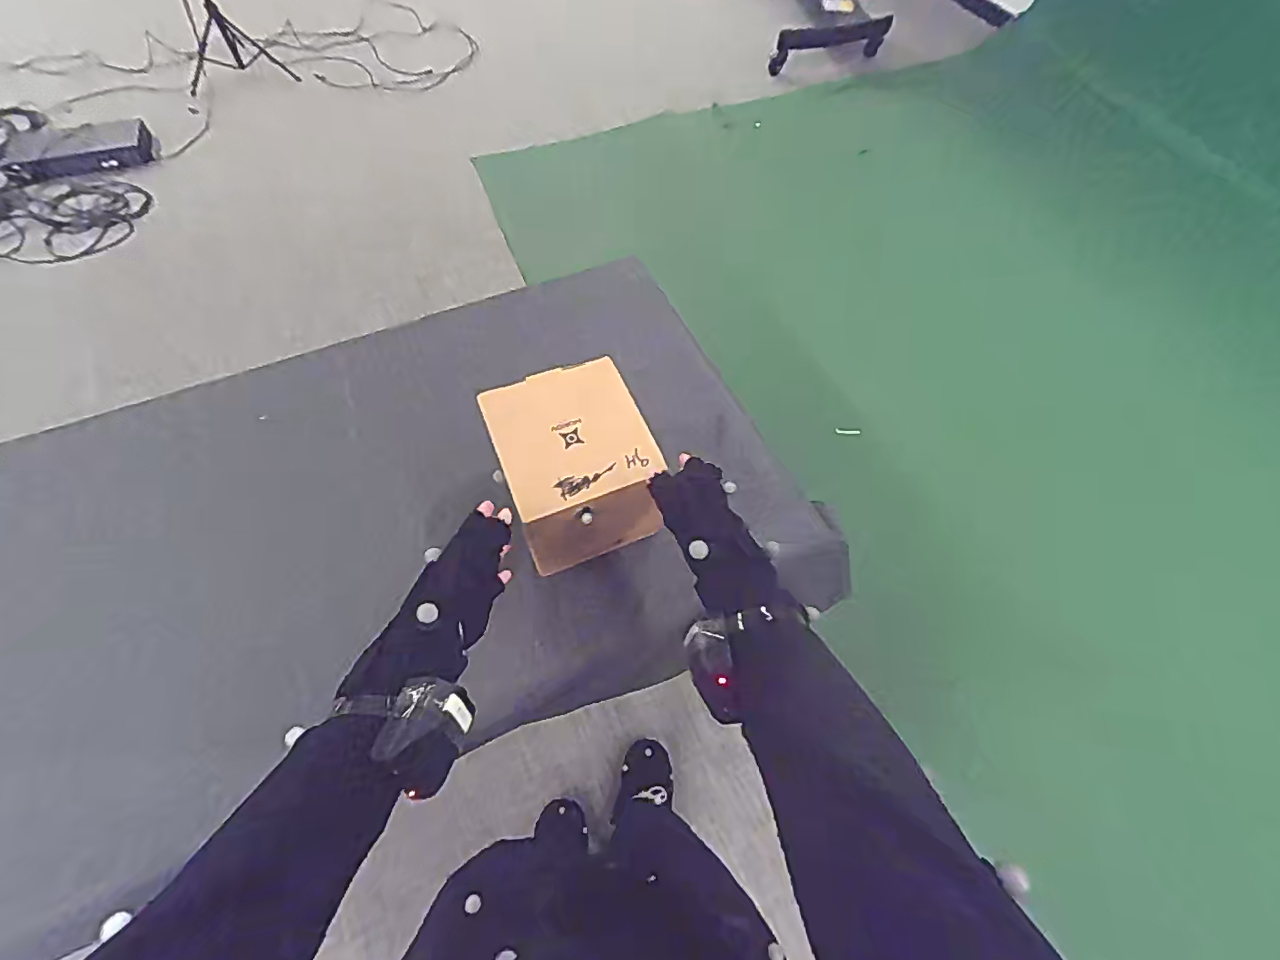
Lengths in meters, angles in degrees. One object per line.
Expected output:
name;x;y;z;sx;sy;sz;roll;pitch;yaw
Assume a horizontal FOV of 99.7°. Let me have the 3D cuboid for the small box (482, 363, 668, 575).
small box;-0.079;-0.009;0.672;0.168;0.176;0.179;-20;64;-12
